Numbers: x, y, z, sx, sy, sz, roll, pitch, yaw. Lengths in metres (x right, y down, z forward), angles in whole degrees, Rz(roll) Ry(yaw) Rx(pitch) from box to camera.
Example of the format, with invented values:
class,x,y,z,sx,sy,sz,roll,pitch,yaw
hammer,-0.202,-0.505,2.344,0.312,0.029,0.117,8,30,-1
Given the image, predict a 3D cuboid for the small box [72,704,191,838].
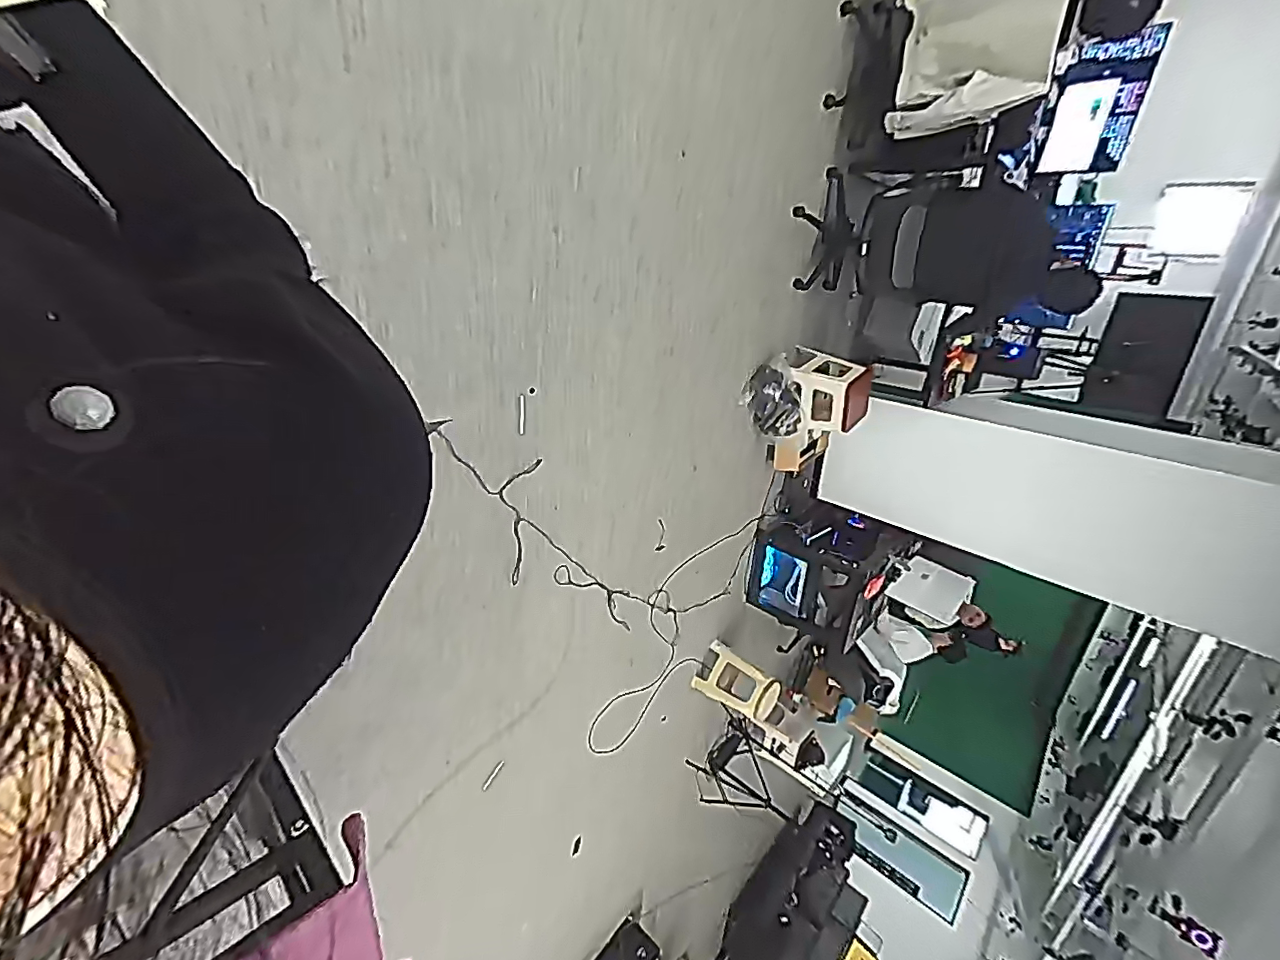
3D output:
class,x,y,z,sx,sy,sz,roll,pitch,yaw
small box,-1.173,0.661,1.250,0.168,0.176,0.179,-18,121,-45
